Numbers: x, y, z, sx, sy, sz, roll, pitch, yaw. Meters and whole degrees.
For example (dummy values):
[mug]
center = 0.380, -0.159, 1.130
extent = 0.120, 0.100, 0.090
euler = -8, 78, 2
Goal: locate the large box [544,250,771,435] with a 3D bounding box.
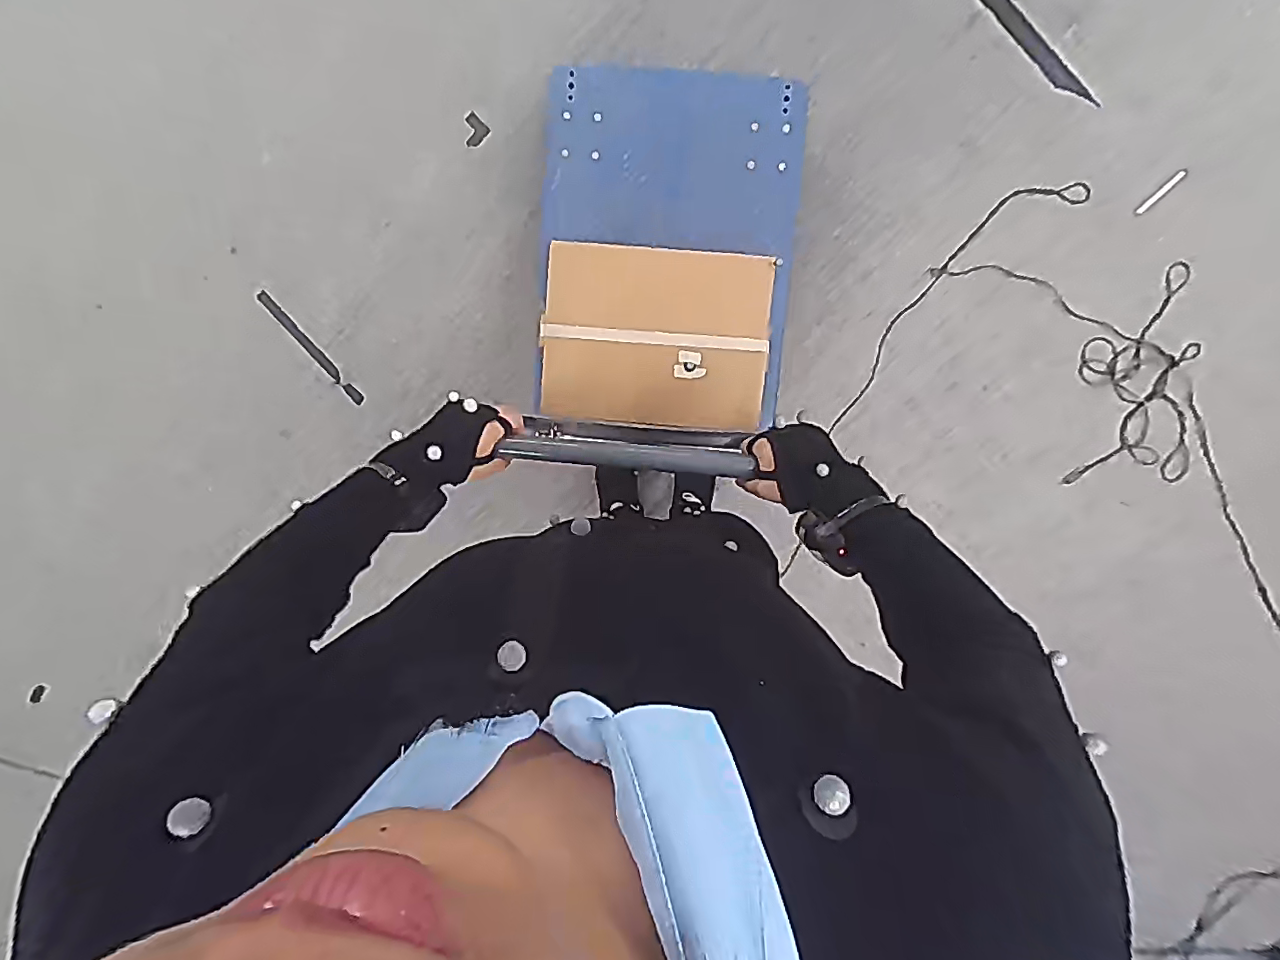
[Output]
[large box]
center = 0.028, -0.264, 1.129
extent = 0.408, 0.320, 0.320
euler = 5, 97, 1
